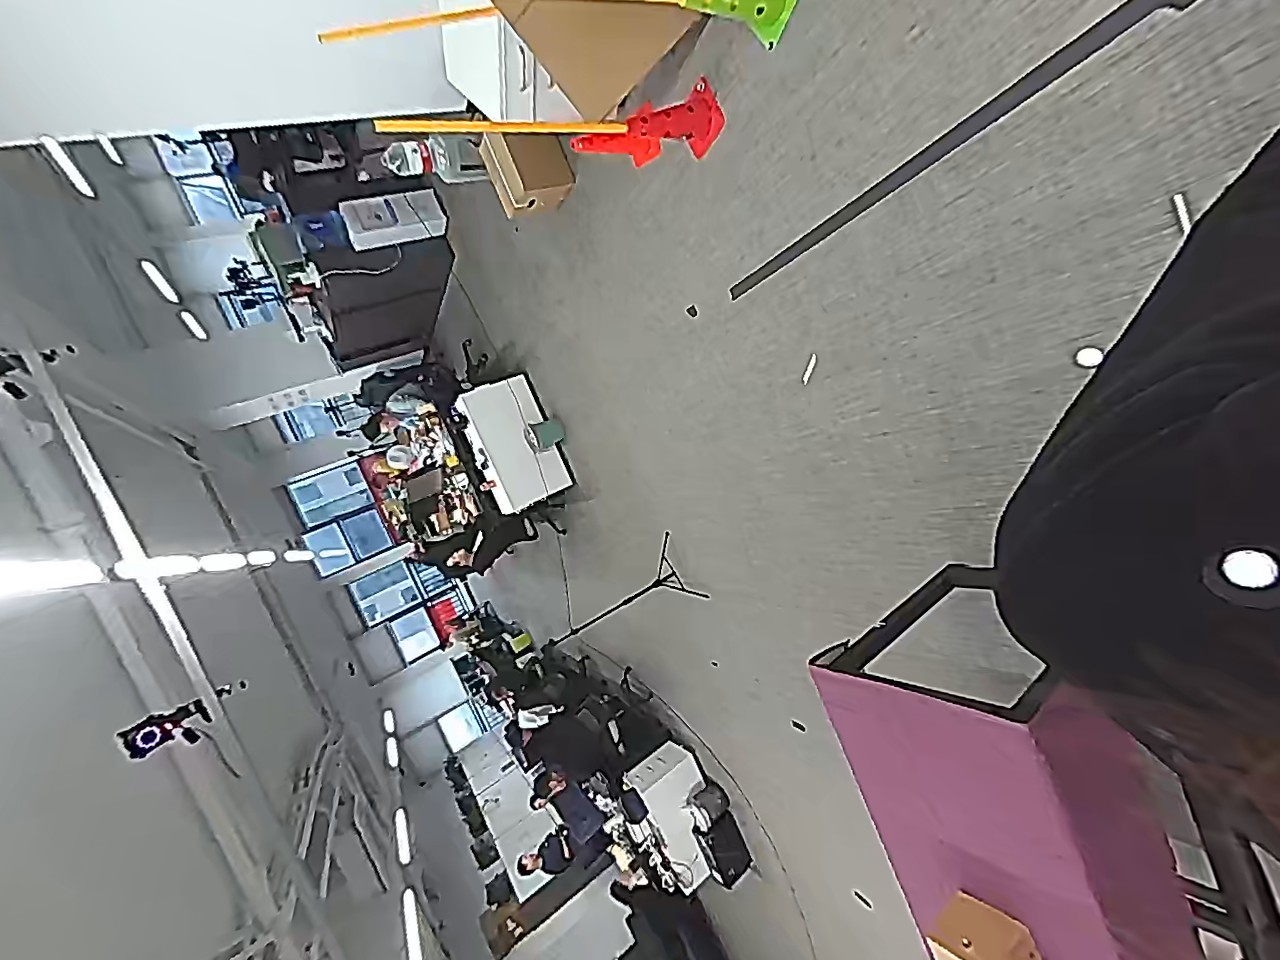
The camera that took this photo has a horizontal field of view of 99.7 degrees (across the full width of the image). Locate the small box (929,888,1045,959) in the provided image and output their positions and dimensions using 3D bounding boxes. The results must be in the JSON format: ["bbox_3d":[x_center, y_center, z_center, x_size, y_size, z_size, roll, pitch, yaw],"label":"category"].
[{"bbox_3d":[0.866,1.168,1.334,0.179,0.176,0.168,-19,95,64],"label":"small box"}]
